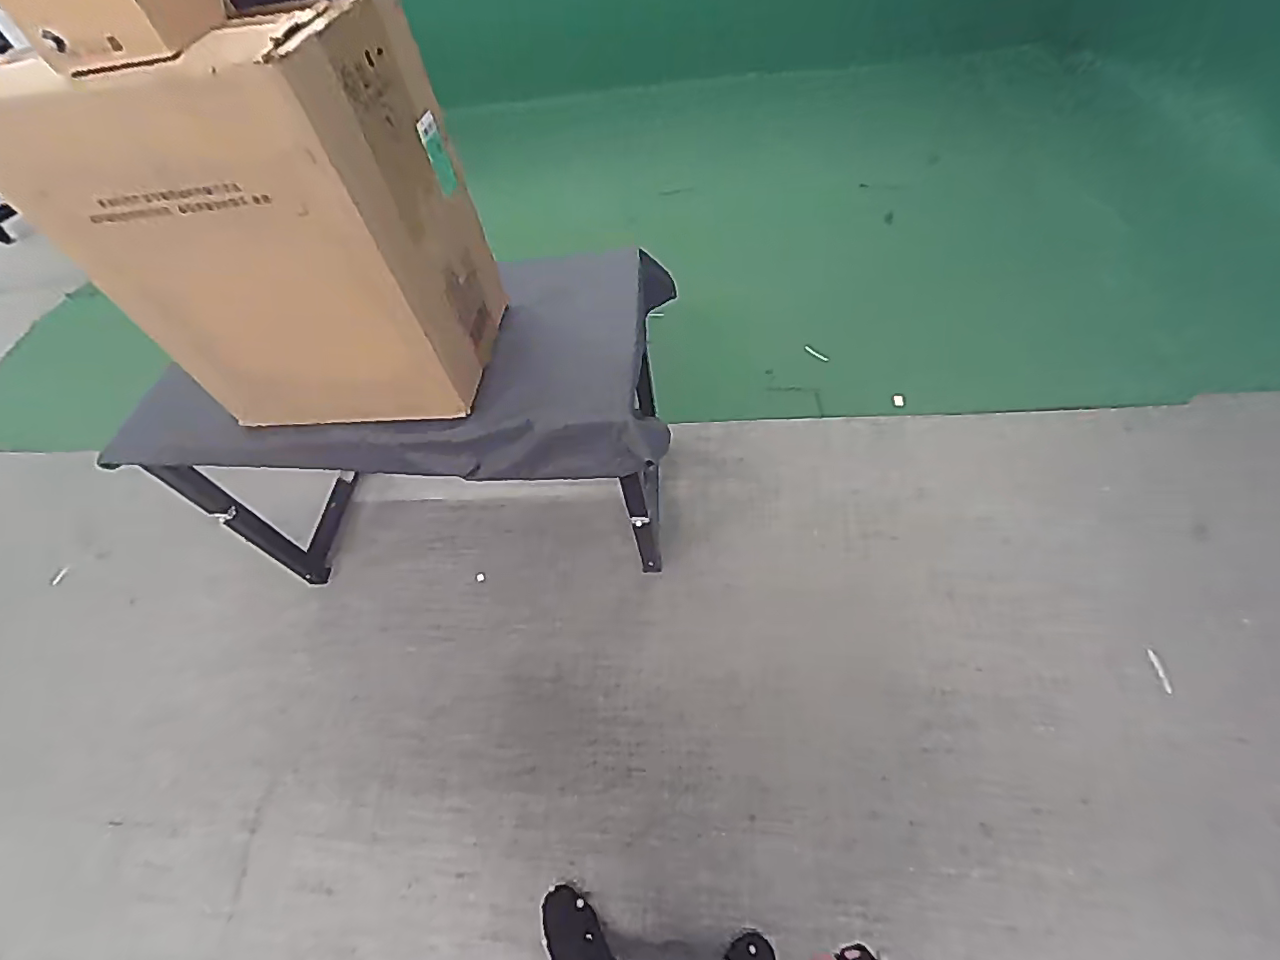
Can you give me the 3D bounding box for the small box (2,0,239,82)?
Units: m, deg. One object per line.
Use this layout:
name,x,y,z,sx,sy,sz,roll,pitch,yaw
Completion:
small box,-0.652,-0.617,0.667,0.168,0.176,0.179,-3,53,7
